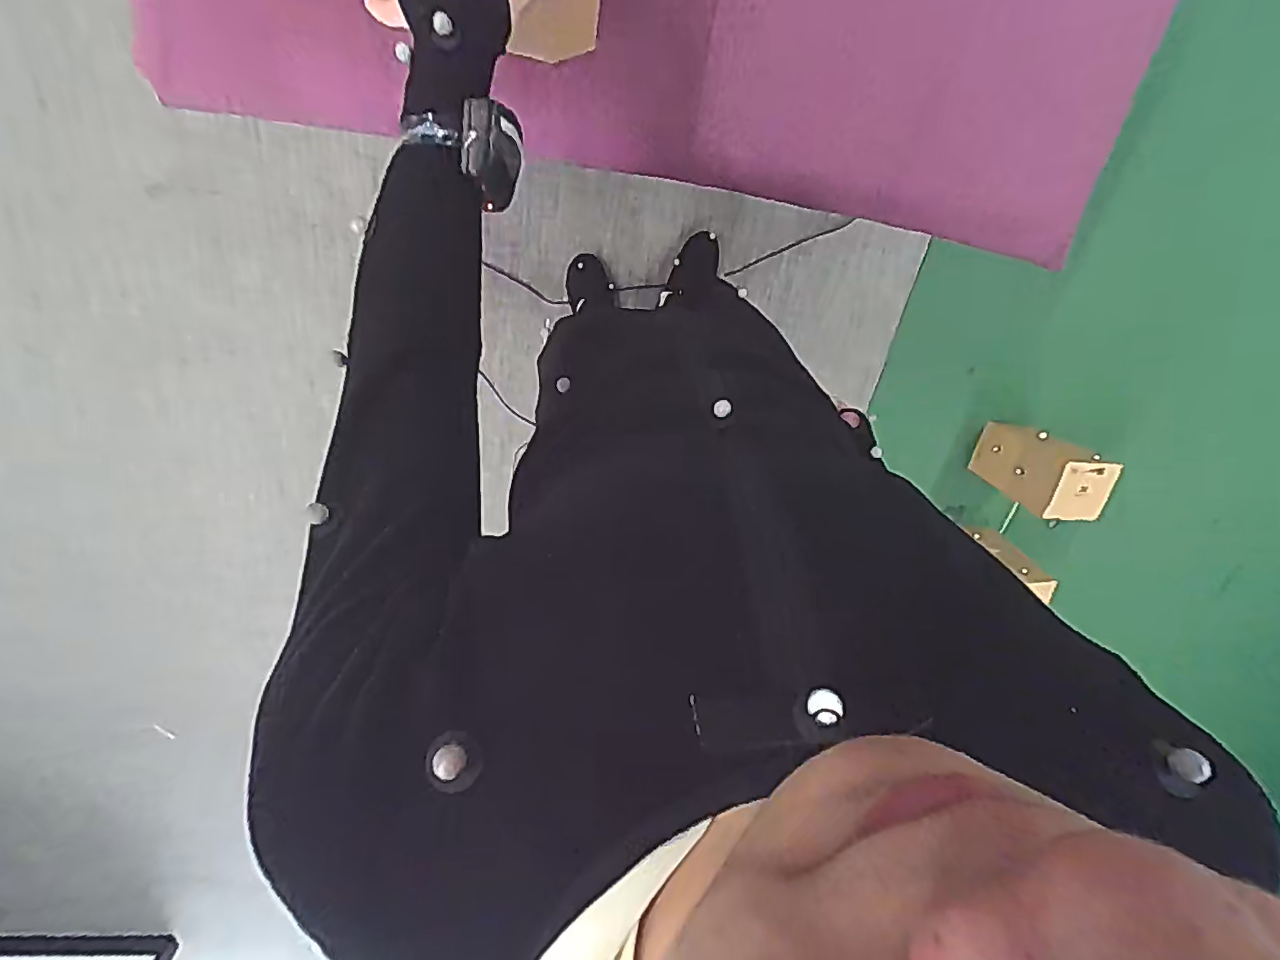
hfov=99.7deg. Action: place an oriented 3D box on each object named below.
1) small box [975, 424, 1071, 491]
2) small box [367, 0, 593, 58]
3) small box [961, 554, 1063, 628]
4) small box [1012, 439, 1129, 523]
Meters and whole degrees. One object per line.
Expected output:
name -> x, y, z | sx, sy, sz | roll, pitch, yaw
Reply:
small box -> 1.189, -0.066, 1.675 | 0.179, 0.176, 0.168 | 5, 115, -7
small box -> -0.132, -0.507, 0.477 | 0.168, 0.176, 0.179 | 15, 133, 0
small box -> 1.153, 0.343, 1.690 | 0.179, 0.176, 0.168 | -1, 116, -2
small box -> 1.200, 0.002, 1.526 | 0.168, 0.176, 0.179 | 3, 116, -6
